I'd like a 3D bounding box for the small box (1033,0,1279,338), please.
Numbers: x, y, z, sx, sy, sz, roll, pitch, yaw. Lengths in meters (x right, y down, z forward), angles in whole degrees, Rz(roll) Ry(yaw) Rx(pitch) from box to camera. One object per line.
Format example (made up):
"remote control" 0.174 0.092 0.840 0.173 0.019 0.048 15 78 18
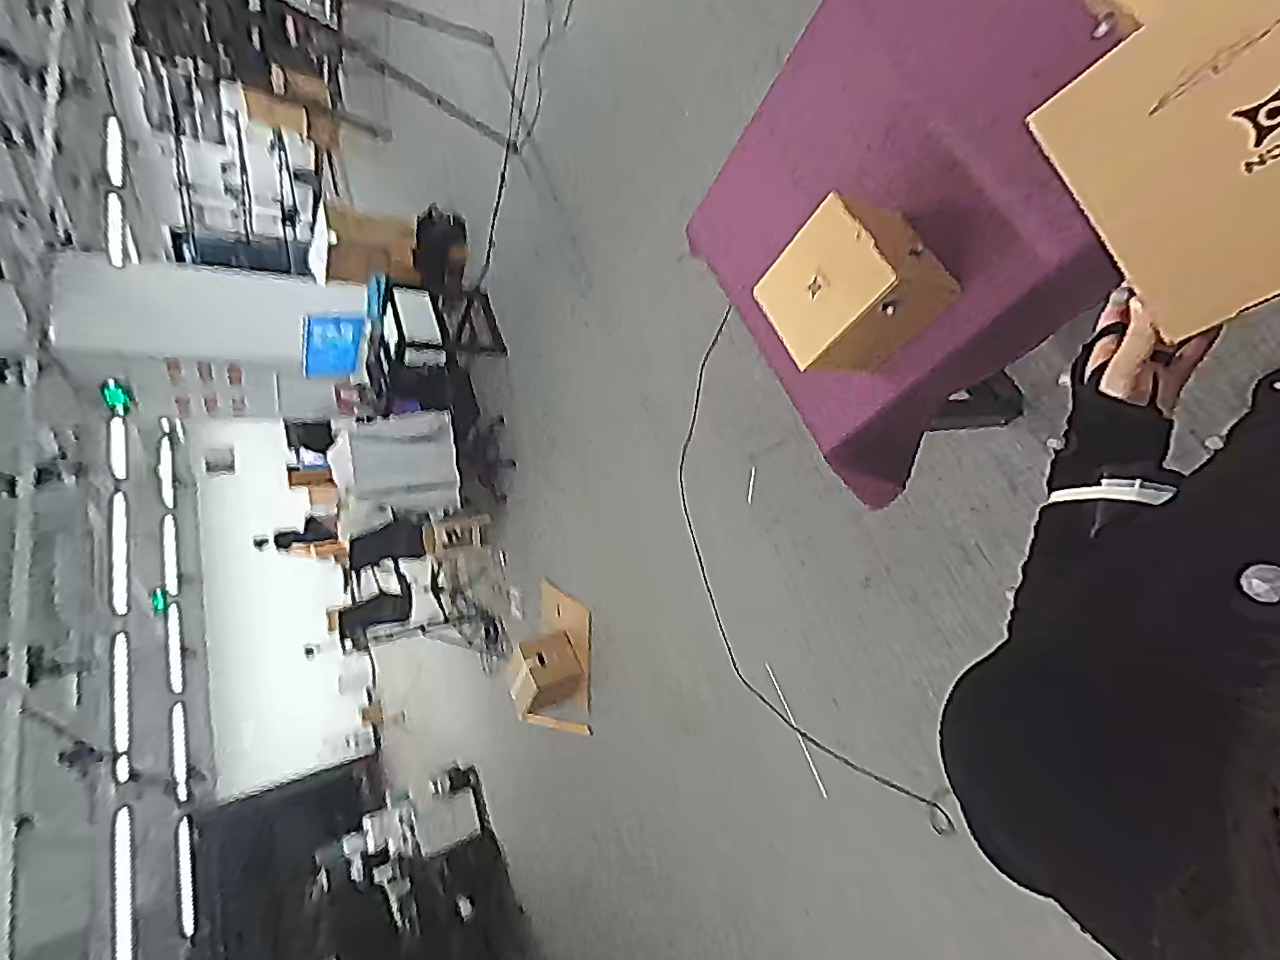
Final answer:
"small box" 0.397 -0.216 0.346 0.168 0.176 0.179 -32 82 45

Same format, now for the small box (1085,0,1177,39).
"small box" 0.514 -0.506 0.480 0.179 0.176 0.168 -47 59 47

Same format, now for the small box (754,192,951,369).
"small box" 0.310 -0.280 0.800 0.179 0.176 0.168 -48 58 45
